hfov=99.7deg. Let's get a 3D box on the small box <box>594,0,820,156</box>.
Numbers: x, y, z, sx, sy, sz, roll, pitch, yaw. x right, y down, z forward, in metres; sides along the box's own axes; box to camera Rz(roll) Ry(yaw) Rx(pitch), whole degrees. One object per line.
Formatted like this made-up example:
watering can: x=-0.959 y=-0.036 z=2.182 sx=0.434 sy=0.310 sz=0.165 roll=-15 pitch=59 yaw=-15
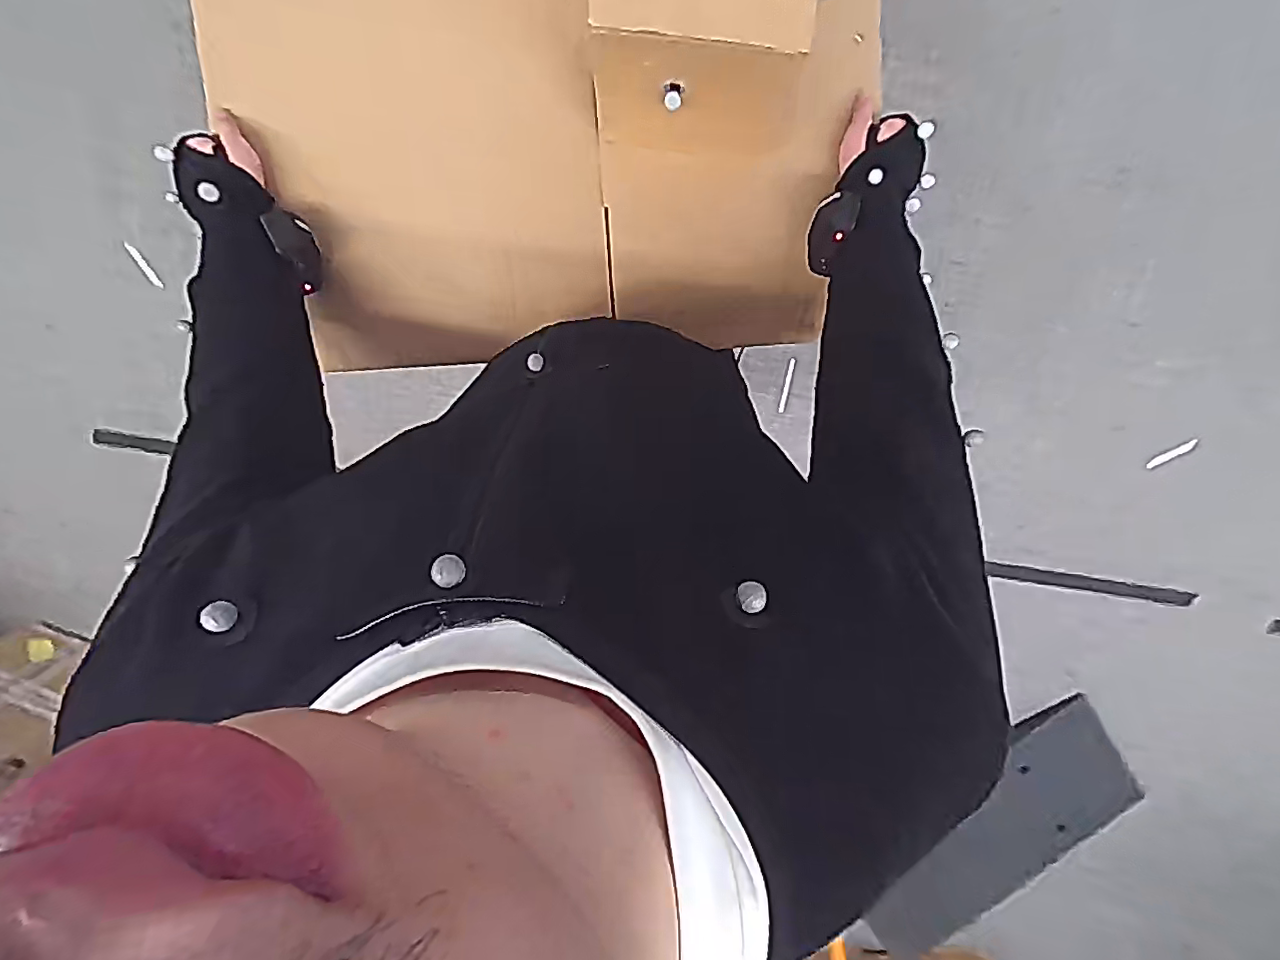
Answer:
small box: x=0.063 y=-0.427 z=0.496 sx=0.179 sy=0.176 sz=0.168 roll=8 pitch=96 yaw=1
